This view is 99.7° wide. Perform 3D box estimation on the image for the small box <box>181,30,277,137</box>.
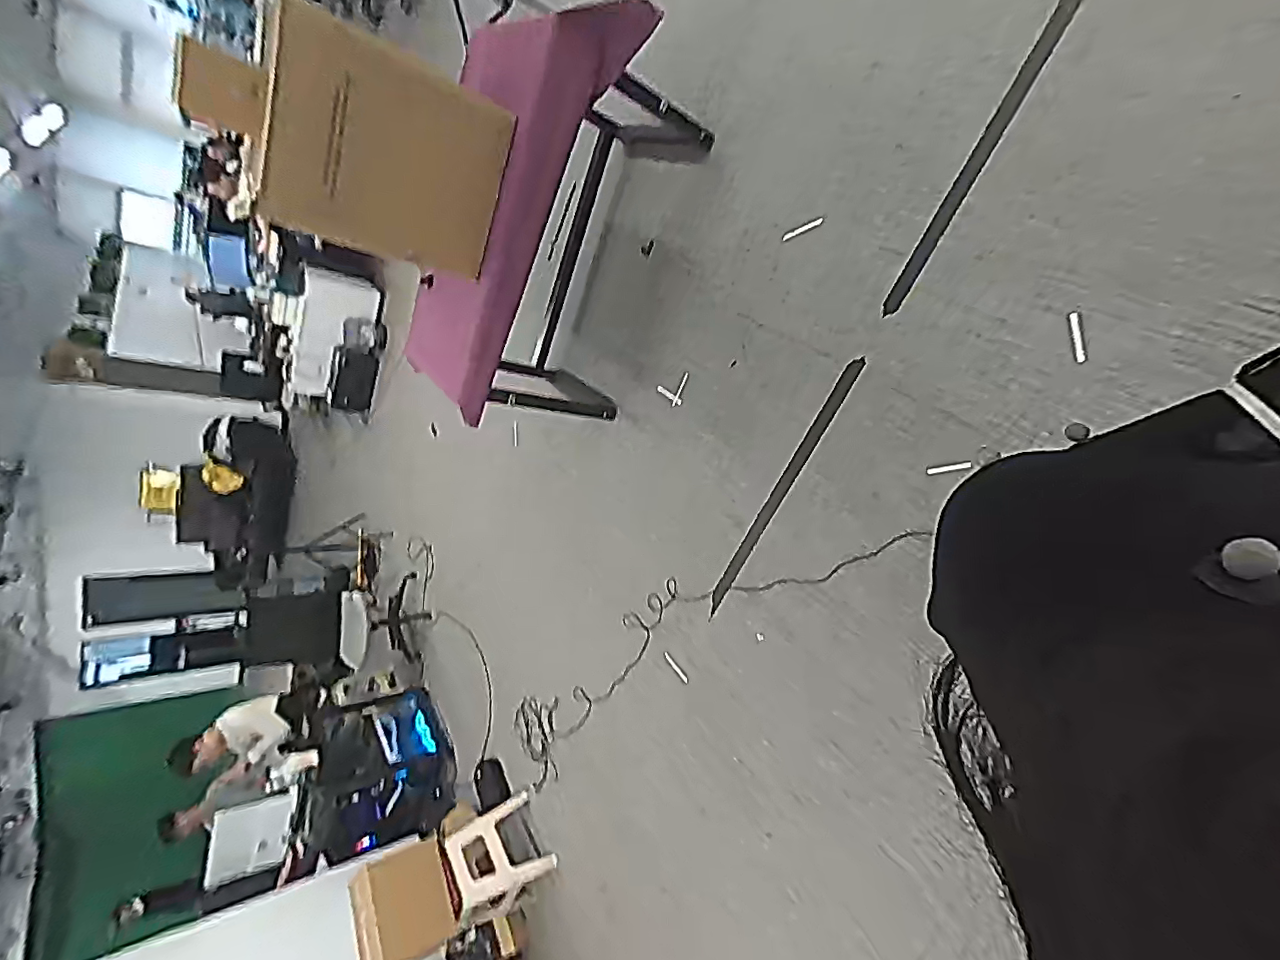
[{"bbox_3d":[-1.048,-1.003,1.376,0.179,0.176,0.168,41,118,38],"label":"small box"}]
